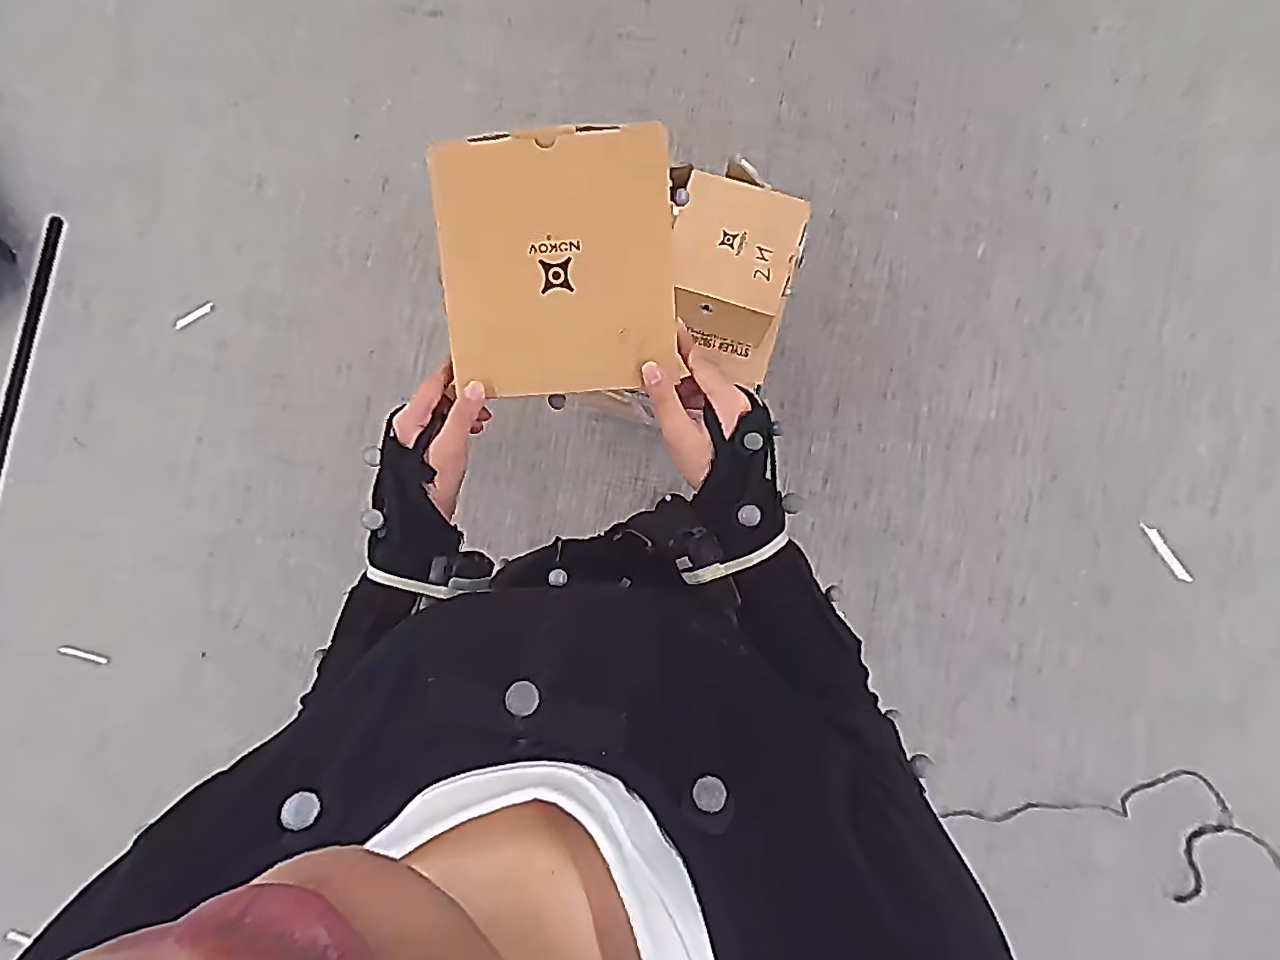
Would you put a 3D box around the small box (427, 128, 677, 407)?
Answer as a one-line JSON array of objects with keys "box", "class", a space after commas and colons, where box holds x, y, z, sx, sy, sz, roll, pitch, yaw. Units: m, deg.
[{"box": [-0.054, -0.160, 0.458, 0.168, 0.176, 0.179, -4, 101, 3], "class": "small box"}]

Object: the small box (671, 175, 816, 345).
[{"box": [0.140, -0.321, 0.824, 0.179, 0.176, 0.168, 19, 91, 5], "class": "small box"}]
